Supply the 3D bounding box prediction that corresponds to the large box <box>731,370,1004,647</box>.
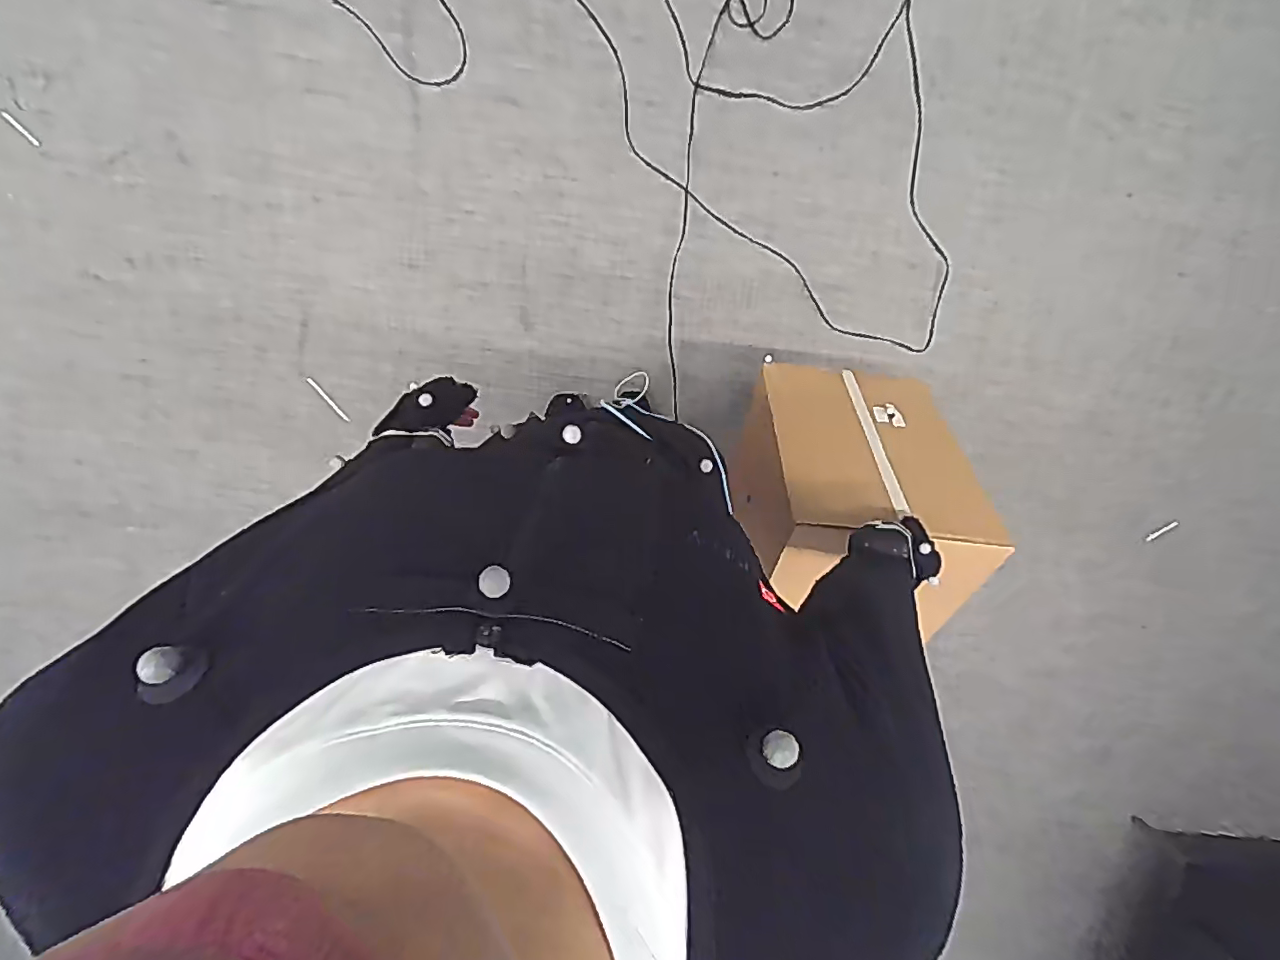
[{"bbox_3d":[0.359,0.048,0.997,0.320,0.408,0.320,6,134,-2],"label":"large box"}]
